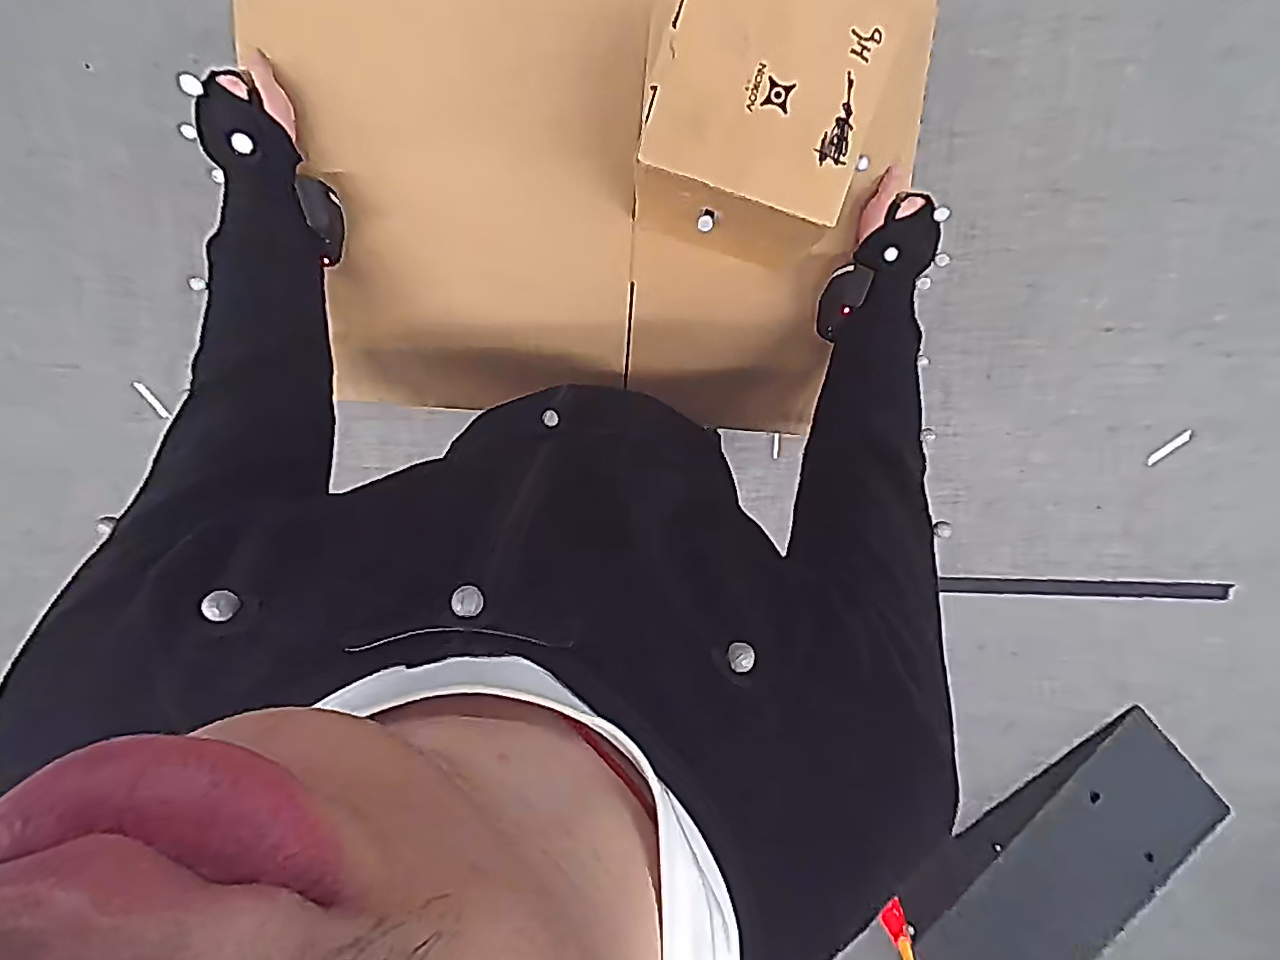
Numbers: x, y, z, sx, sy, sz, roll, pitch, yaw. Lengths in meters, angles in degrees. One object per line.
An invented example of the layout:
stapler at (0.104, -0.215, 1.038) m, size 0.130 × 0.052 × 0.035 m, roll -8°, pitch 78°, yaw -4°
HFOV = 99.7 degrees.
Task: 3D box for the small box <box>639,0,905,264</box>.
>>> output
small box at (0.108, -0.328, 0.519) m, size 0.179 × 0.176 × 0.168 m, roll 18°, pitch 99°, yaw -1°
